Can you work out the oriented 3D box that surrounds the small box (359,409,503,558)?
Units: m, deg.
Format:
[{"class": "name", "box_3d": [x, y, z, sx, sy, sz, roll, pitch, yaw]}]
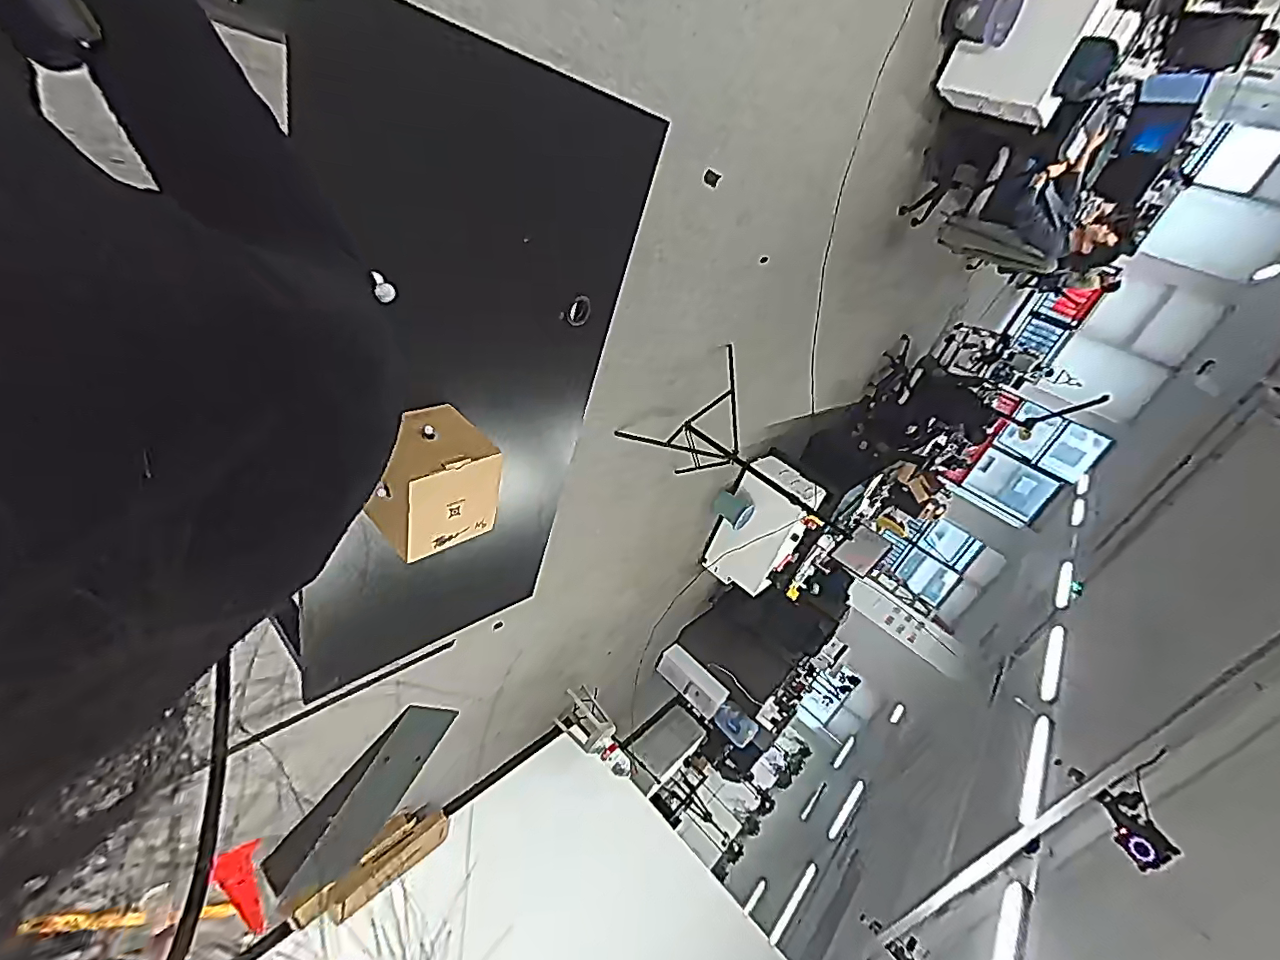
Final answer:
[{"class": "small box", "box_3d": [-0.356, -0.006, 0.918, 0.168, 0.176, 0.179, -24, 141, -44]}]
